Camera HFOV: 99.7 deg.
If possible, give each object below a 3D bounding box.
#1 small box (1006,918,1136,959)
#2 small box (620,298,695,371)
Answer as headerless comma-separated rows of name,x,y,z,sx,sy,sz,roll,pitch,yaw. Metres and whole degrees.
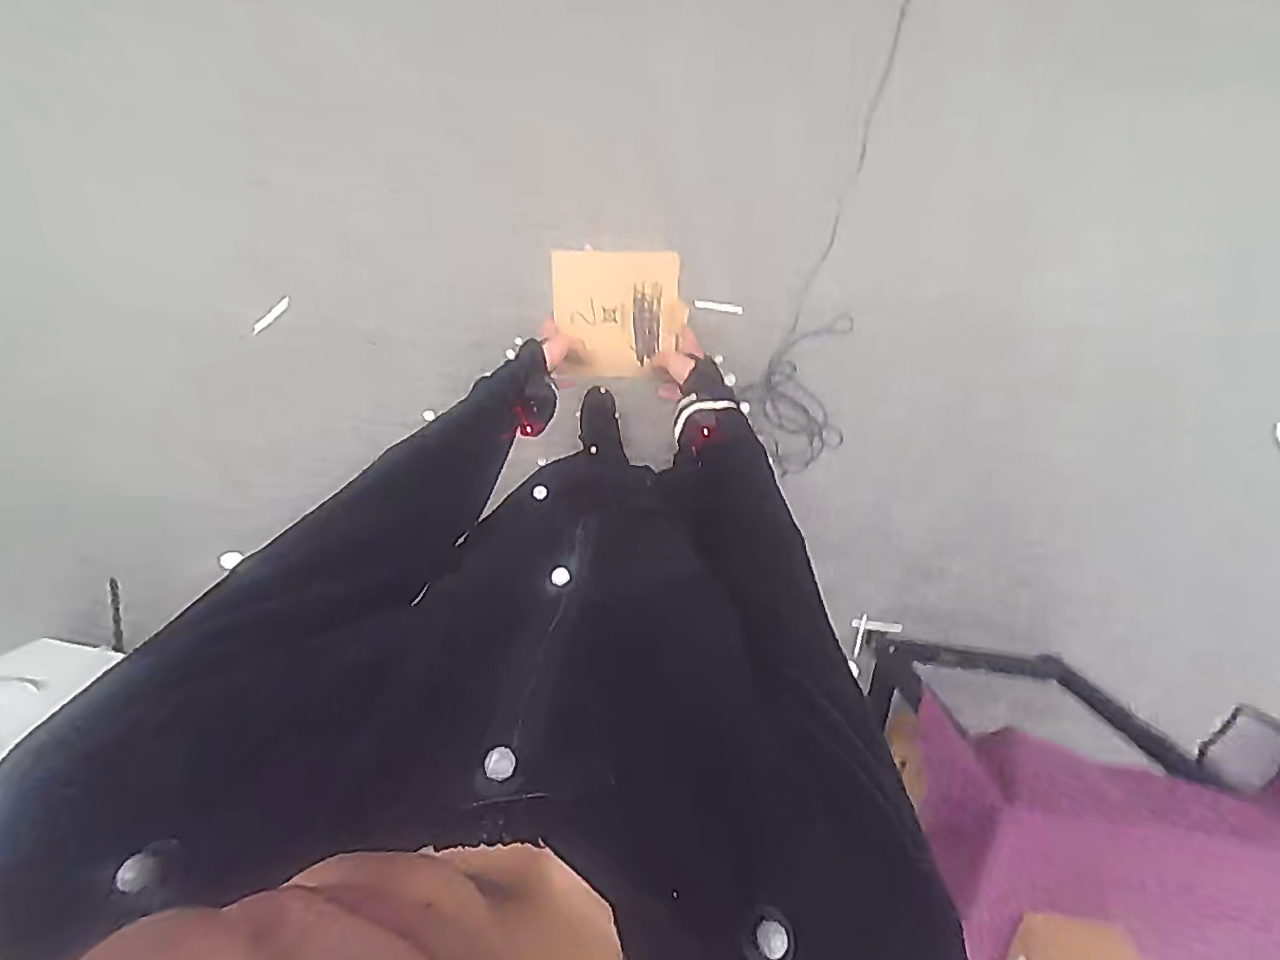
small box,0.764,0.897,0.917,0.179,0.176,0.168,9,102,3
small box,0.050,-0.386,1.461,0.179,0.176,0.168,8,102,3
